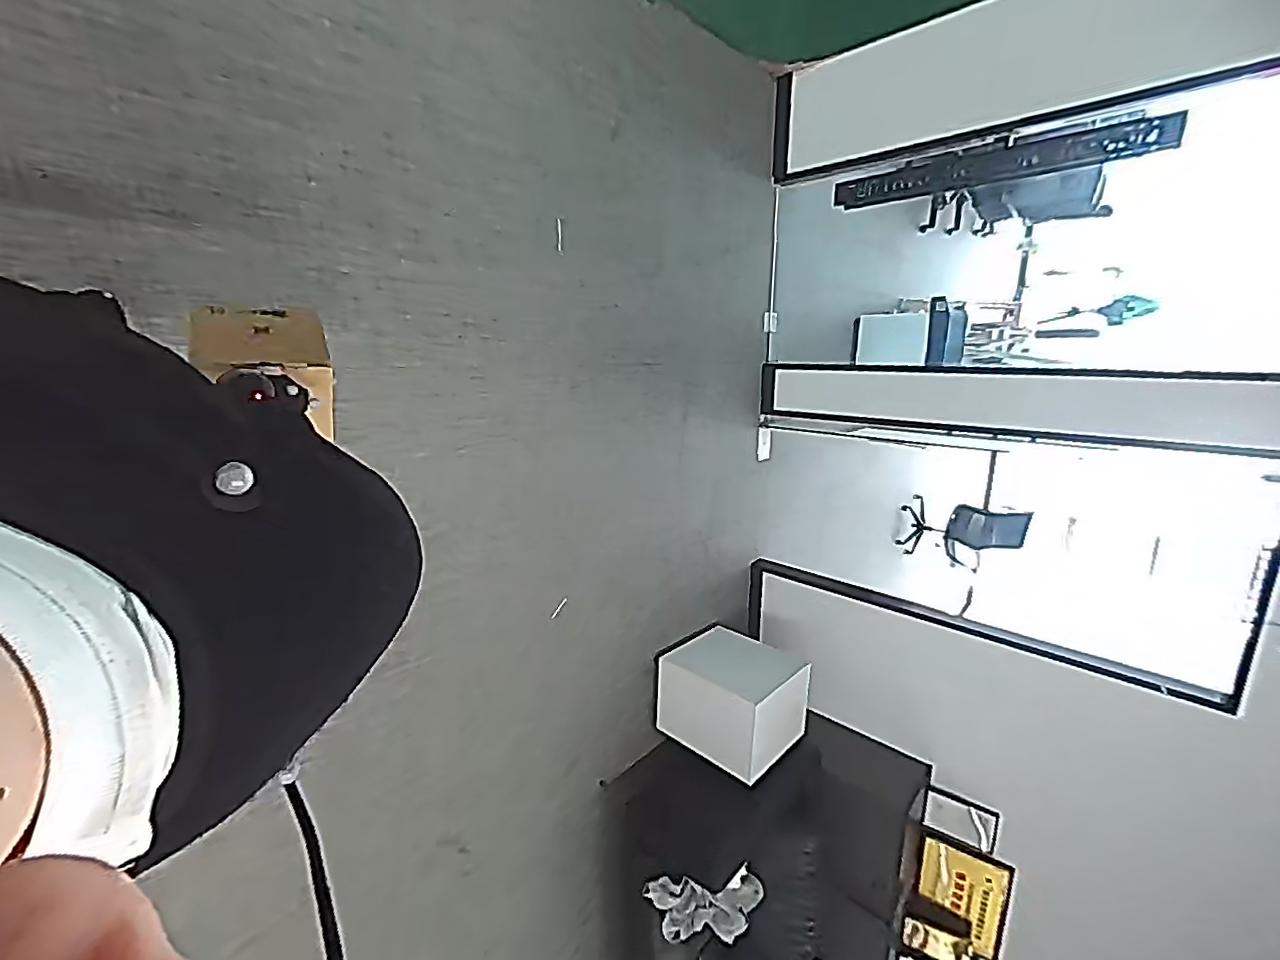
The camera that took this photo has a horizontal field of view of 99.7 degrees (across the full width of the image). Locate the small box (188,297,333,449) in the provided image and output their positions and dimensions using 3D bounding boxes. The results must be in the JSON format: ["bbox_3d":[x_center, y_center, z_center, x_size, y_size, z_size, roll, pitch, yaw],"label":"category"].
[{"bbox_3d":[-0.583,-0.160,0.841,0.168,0.179,0.176,-7,137,-35],"label":"small box"}]
